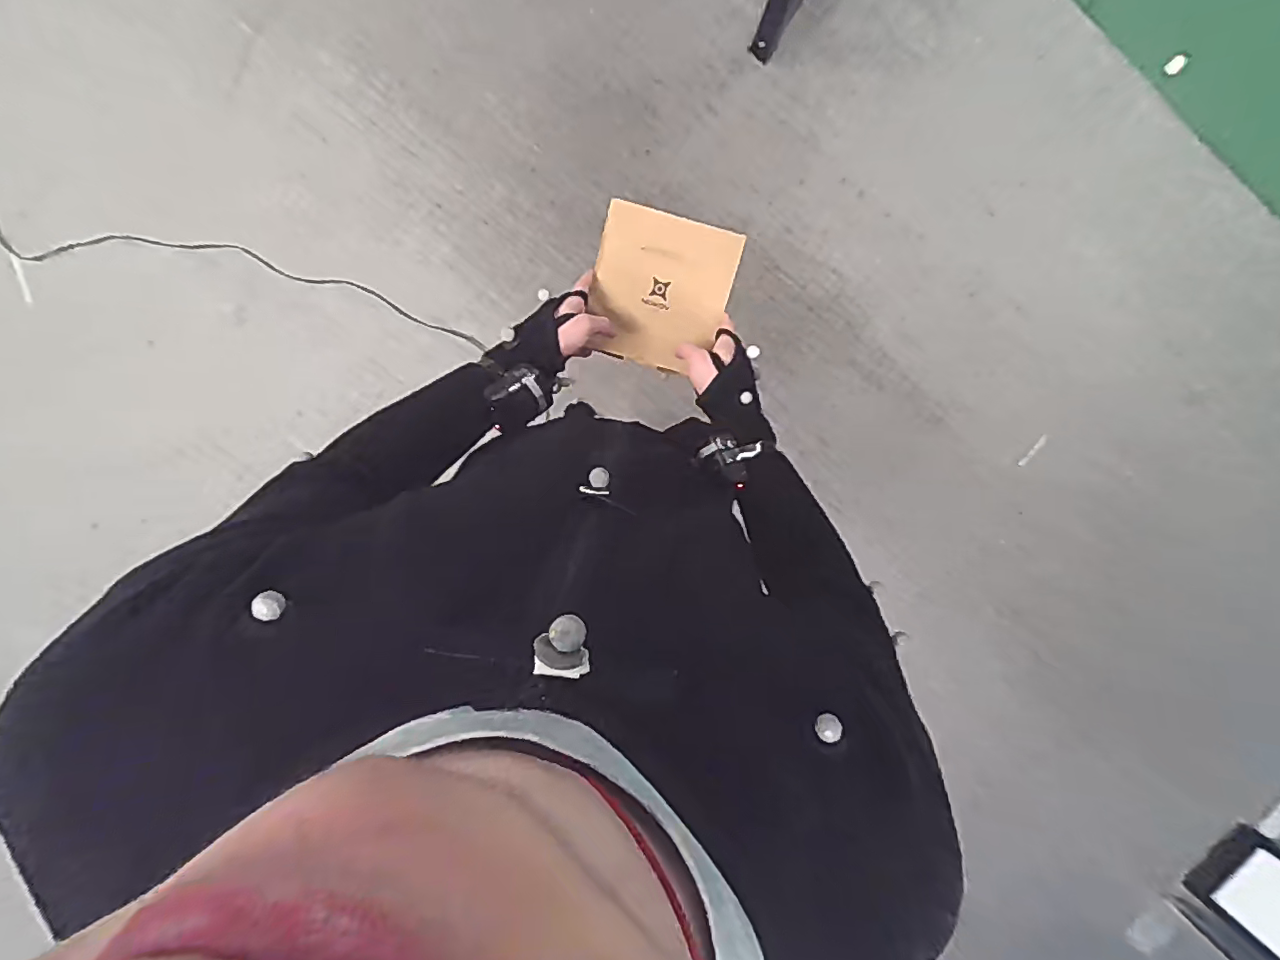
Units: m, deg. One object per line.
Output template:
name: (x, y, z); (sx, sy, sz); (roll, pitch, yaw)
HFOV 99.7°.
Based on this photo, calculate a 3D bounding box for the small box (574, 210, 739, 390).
small box: (0.019, -0.231, 0.722); (0.168, 0.176, 0.179); (14, 105, -3)
